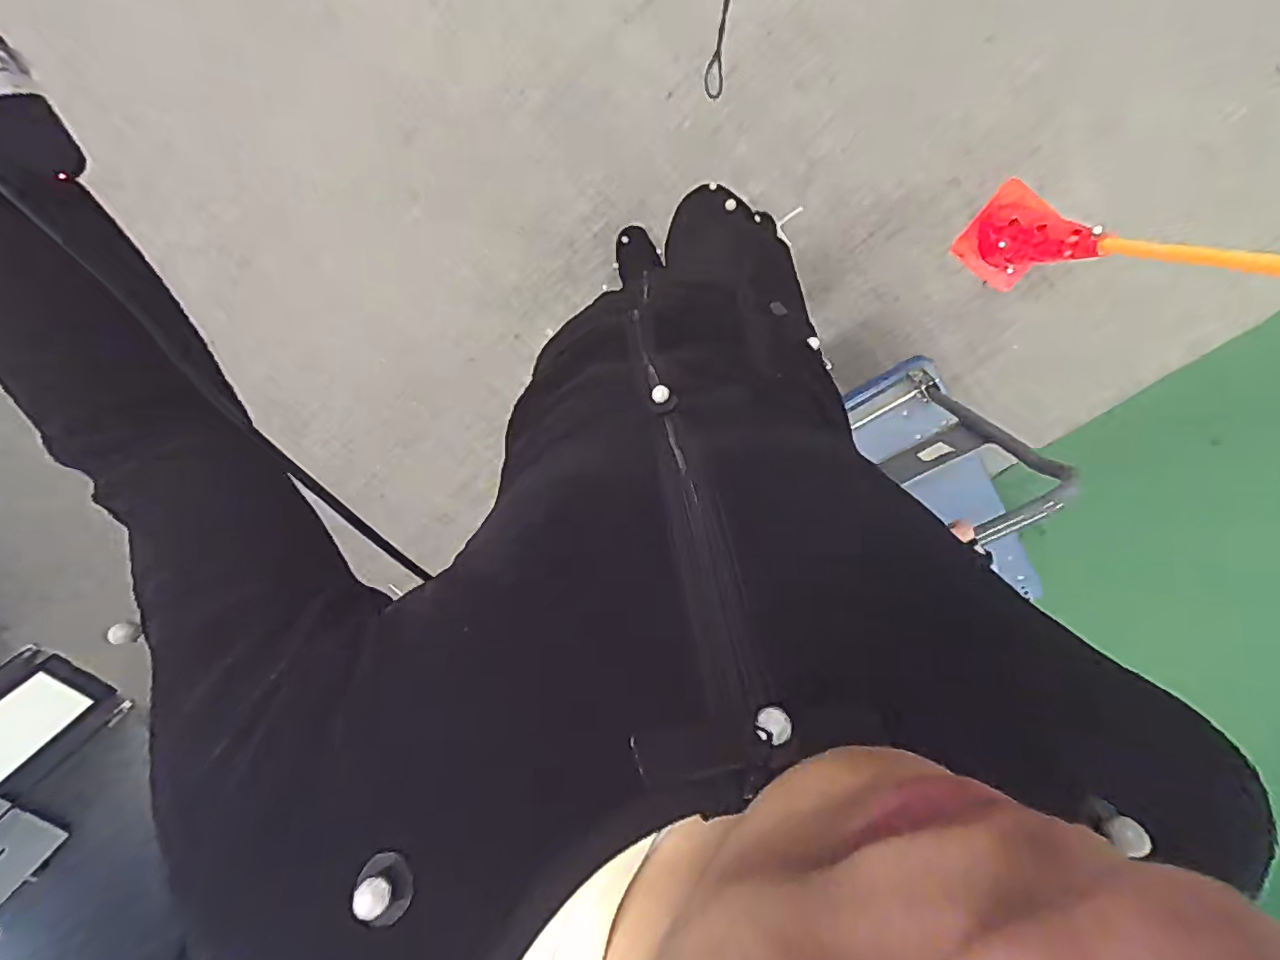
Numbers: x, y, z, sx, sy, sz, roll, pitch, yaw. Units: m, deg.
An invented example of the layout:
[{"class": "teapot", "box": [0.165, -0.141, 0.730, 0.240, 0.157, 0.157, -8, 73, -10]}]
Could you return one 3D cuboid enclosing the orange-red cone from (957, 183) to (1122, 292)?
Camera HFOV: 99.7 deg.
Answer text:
[{"class": "orange-red cone", "box": [0.910, -0.522, 1.187, 0.198, 0.360, 0.199, 33, 113, -12]}]
